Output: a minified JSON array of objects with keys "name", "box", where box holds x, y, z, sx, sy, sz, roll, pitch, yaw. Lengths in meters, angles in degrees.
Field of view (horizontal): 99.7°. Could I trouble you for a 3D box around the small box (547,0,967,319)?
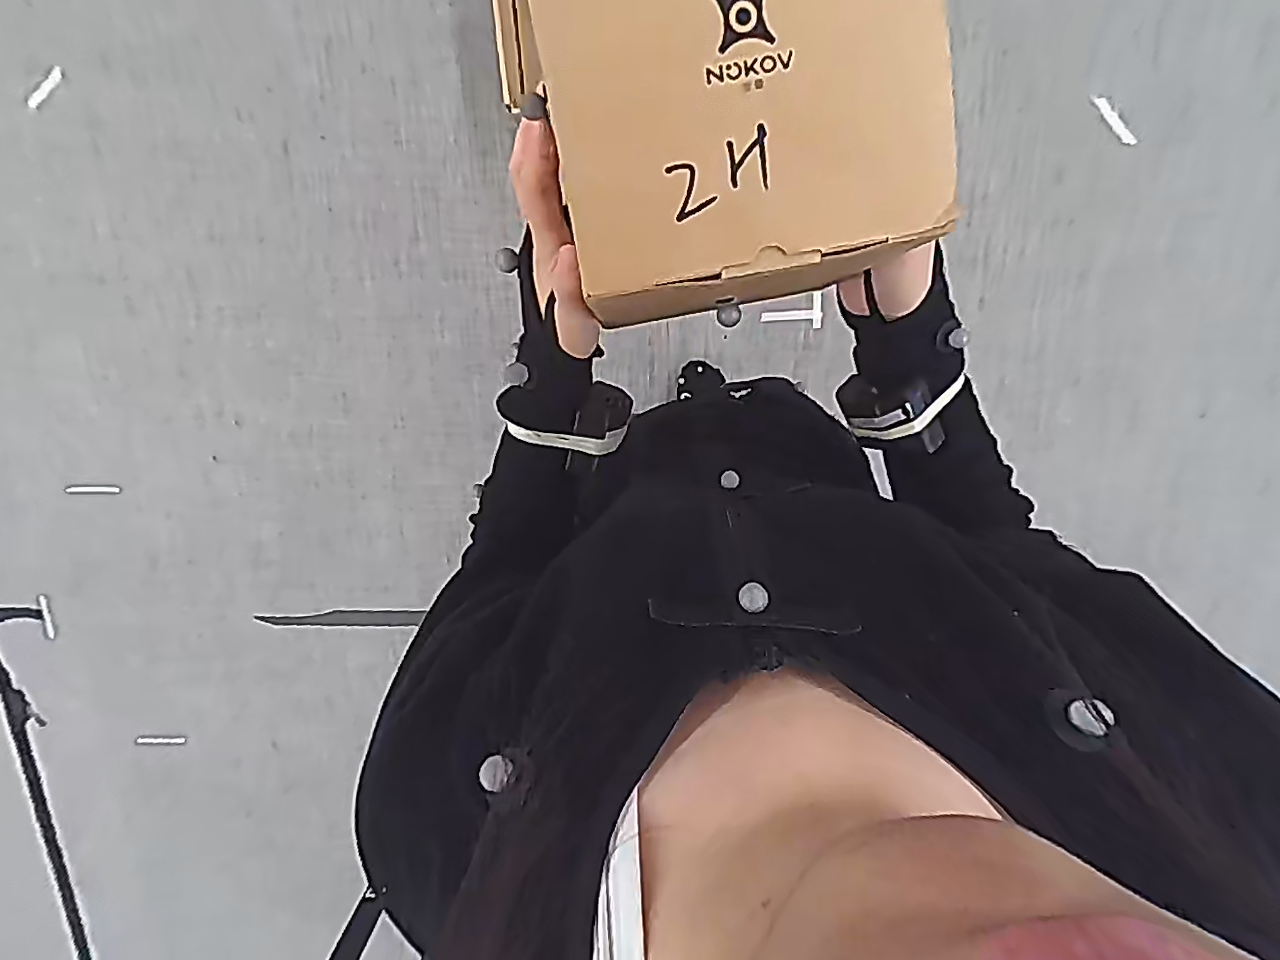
[{"name":"small box","box":[0.044,-0.197,0.296,0.168,0.176,0.179,-10,101,1]}]
